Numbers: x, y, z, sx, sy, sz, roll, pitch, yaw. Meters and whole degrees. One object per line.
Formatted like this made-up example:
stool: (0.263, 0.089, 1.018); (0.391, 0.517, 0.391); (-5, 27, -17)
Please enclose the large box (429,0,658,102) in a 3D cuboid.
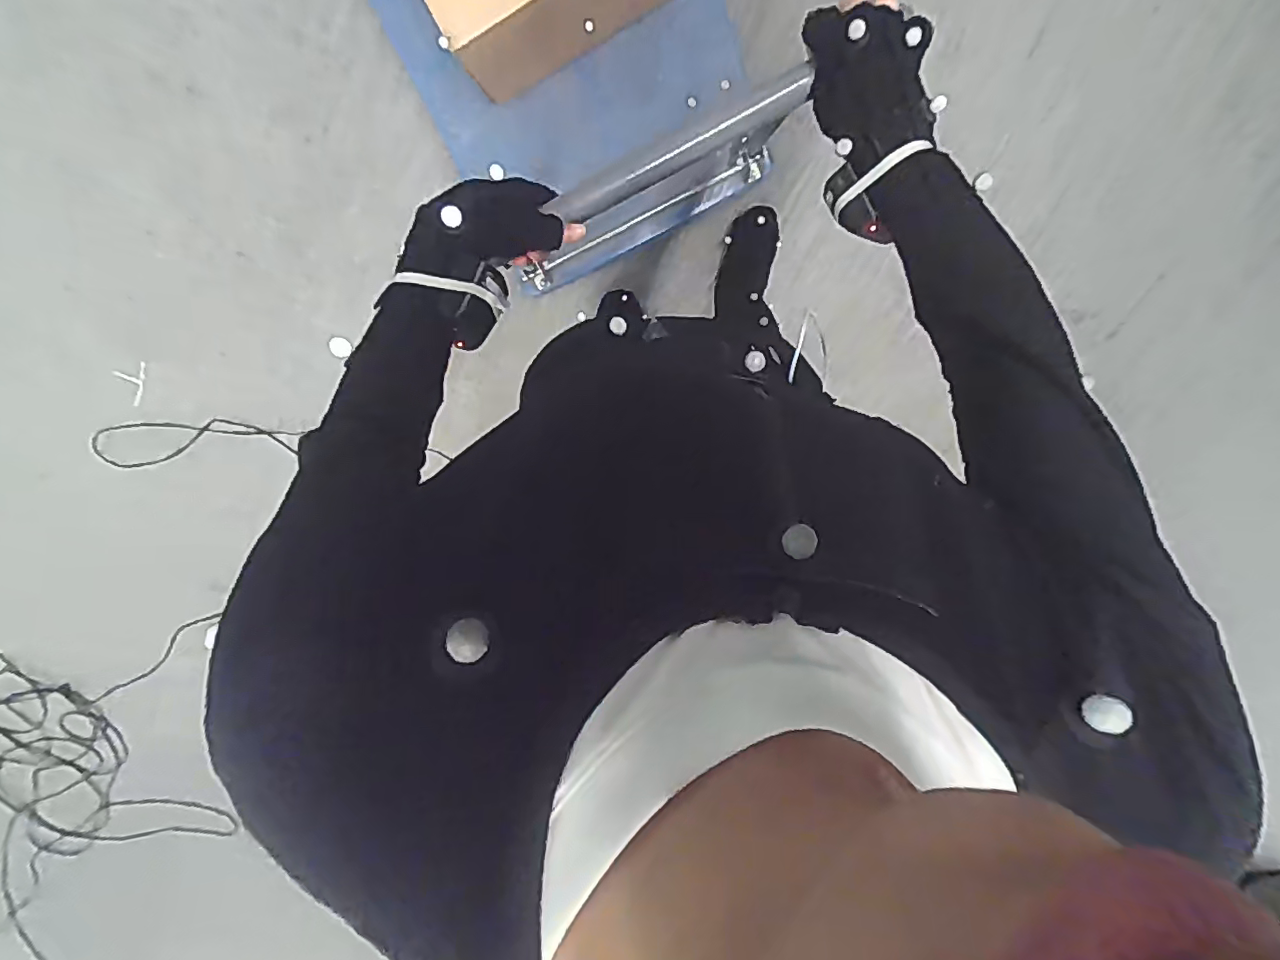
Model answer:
large box: (-0.156, -0.868, 0.811); (0.408, 0.320, 0.320); (-27, 110, 9)
